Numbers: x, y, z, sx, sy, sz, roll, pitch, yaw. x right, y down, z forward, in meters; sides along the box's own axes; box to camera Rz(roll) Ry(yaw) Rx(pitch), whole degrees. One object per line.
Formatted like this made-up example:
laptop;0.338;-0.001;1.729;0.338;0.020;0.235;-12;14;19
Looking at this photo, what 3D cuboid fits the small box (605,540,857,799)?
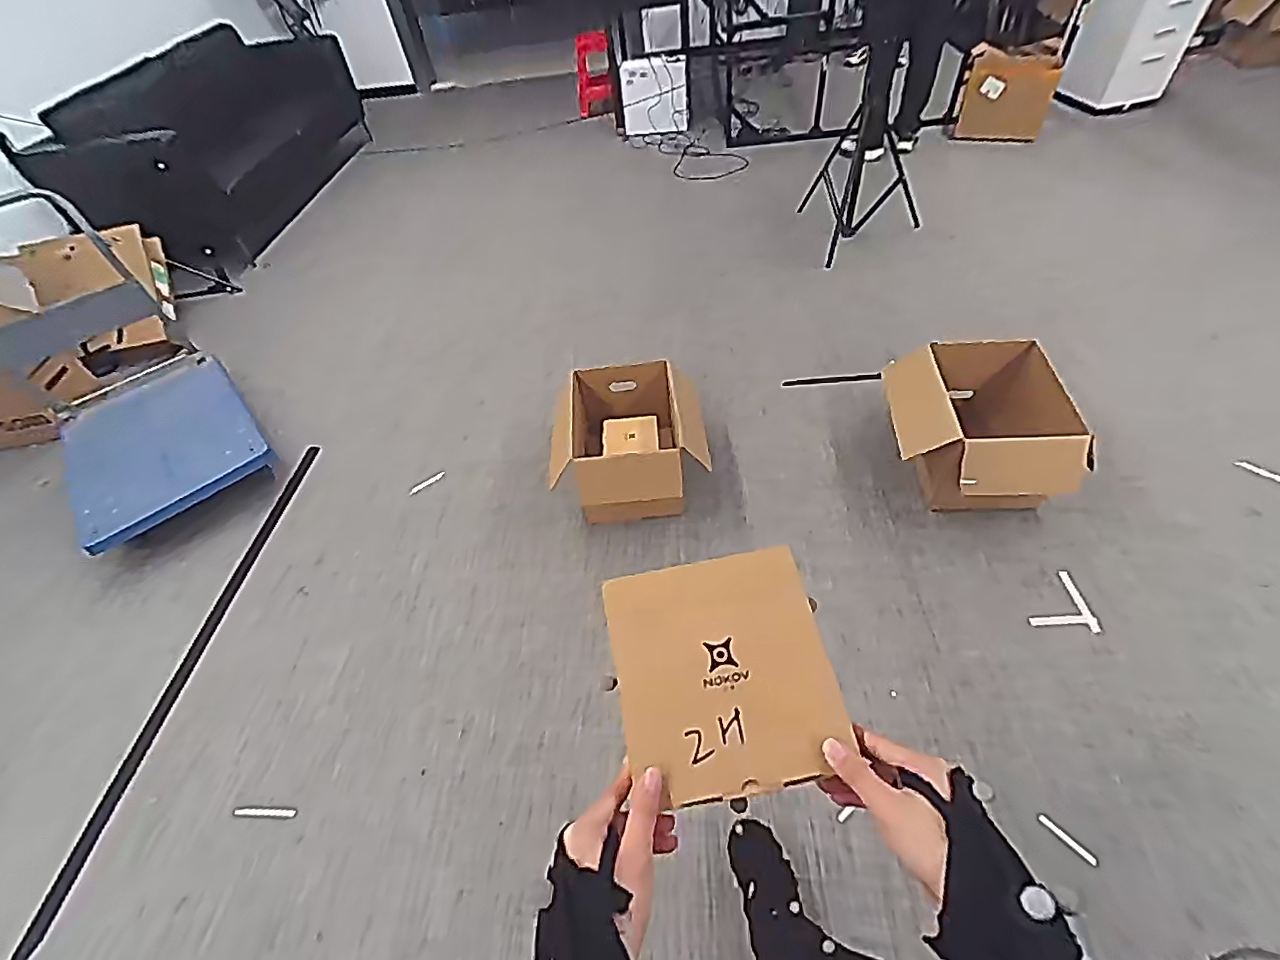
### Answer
small box;0.065;0.178;0.494;0.168;0.176;0.179;-11;61;-2
